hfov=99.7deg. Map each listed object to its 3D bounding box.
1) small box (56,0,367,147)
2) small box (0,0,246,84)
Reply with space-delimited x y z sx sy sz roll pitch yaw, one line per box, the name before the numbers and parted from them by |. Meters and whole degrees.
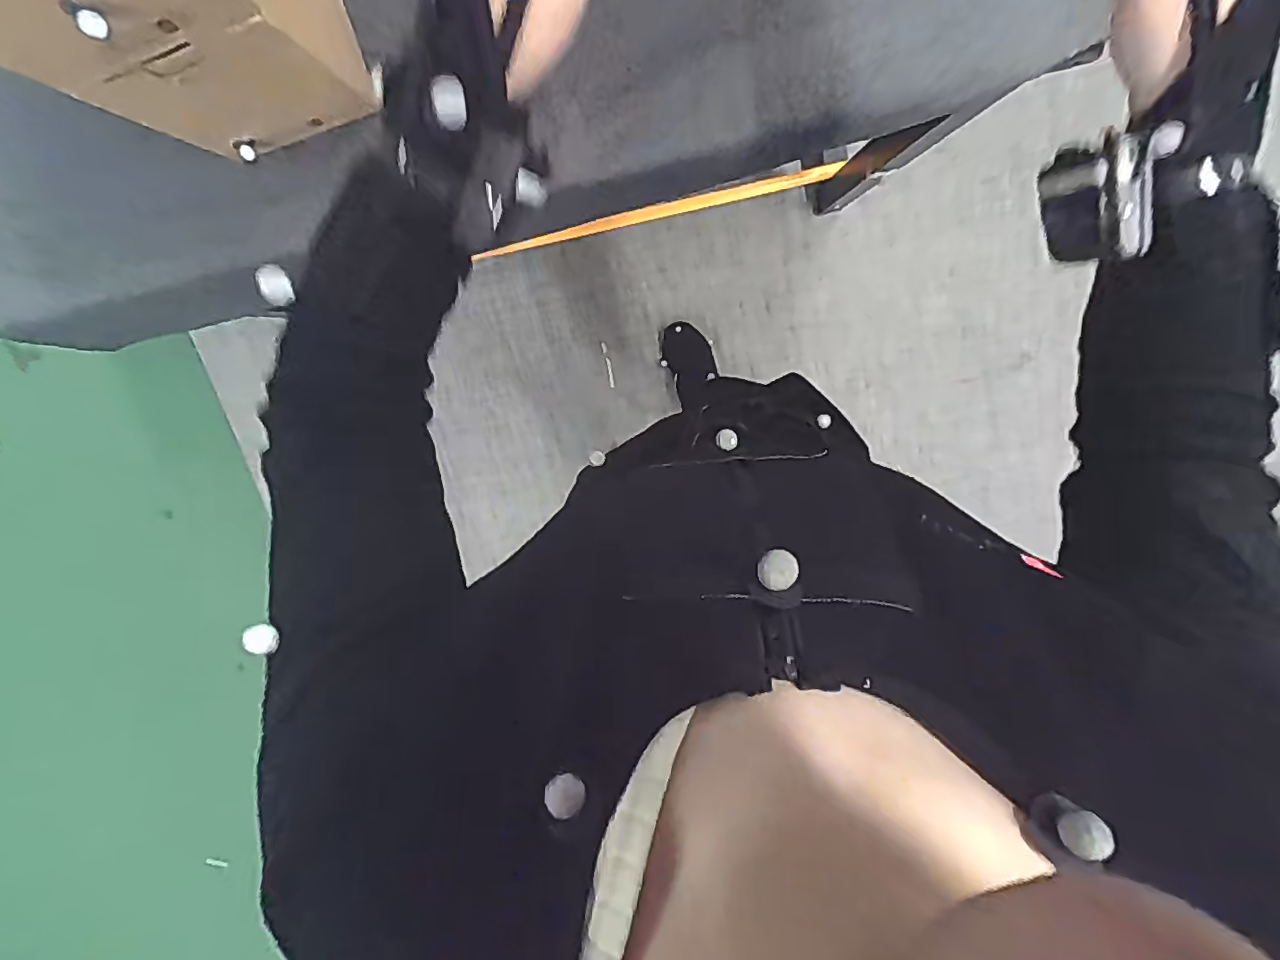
small box | -0.364 -0.405 0.445 0.168 0.176 0.179 -15 103 6
small box | -0.371 -0.364 0.286 0.168 0.176 0.179 -17 104 7
